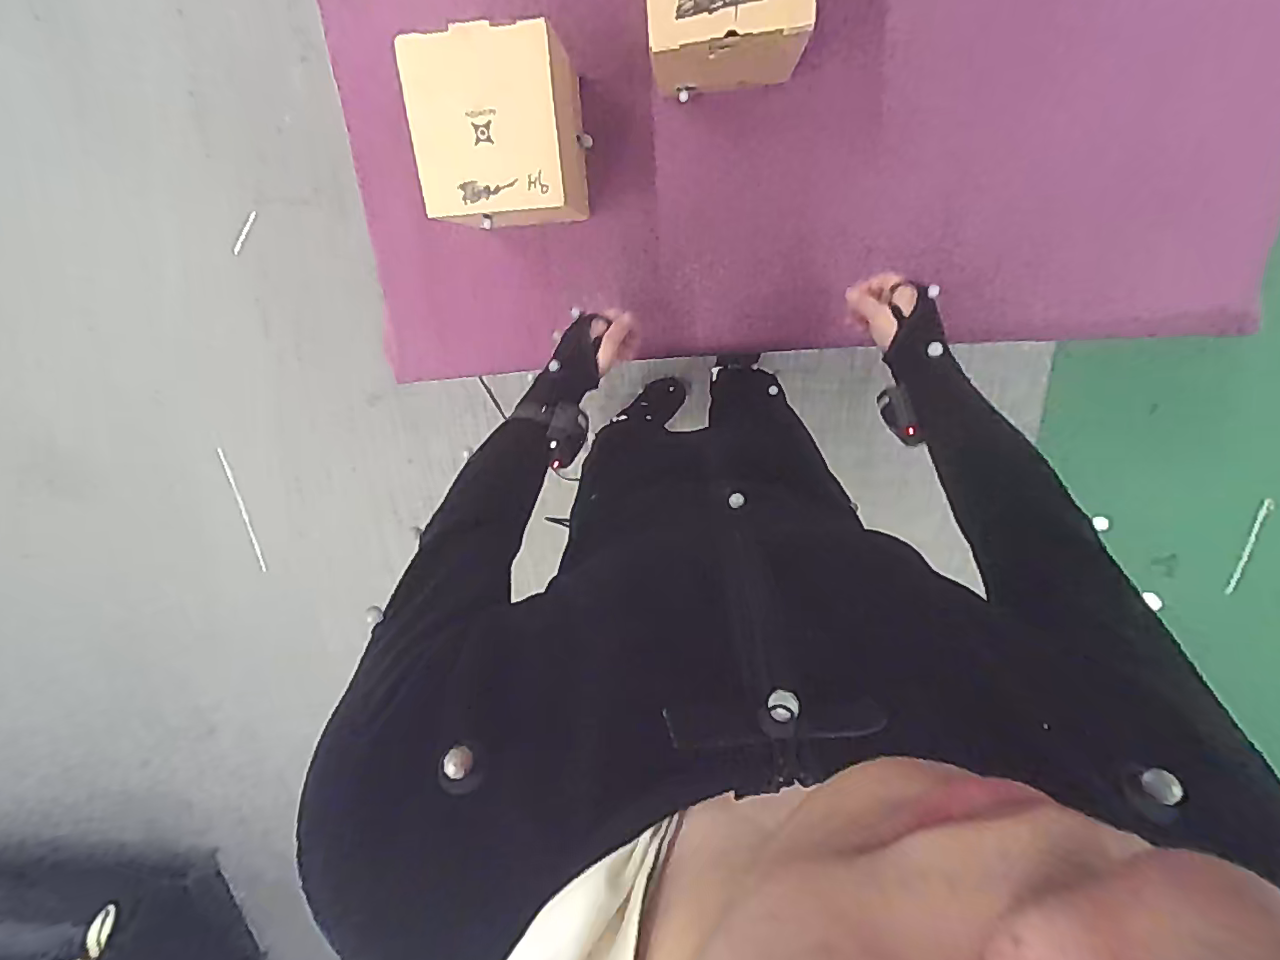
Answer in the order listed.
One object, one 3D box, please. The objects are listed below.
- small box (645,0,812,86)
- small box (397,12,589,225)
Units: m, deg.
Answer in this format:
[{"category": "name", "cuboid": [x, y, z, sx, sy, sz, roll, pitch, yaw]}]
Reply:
[{"category": "small box", "cuboid": [0.091, -0.554, 0.584, 0.168, 0.176, 0.179, -3, 110, 7]}, {"category": "small box", "cuboid": [-0.163, -0.420, 0.659, 0.168, 0.176, 0.179, -1, 111, 7]}]
